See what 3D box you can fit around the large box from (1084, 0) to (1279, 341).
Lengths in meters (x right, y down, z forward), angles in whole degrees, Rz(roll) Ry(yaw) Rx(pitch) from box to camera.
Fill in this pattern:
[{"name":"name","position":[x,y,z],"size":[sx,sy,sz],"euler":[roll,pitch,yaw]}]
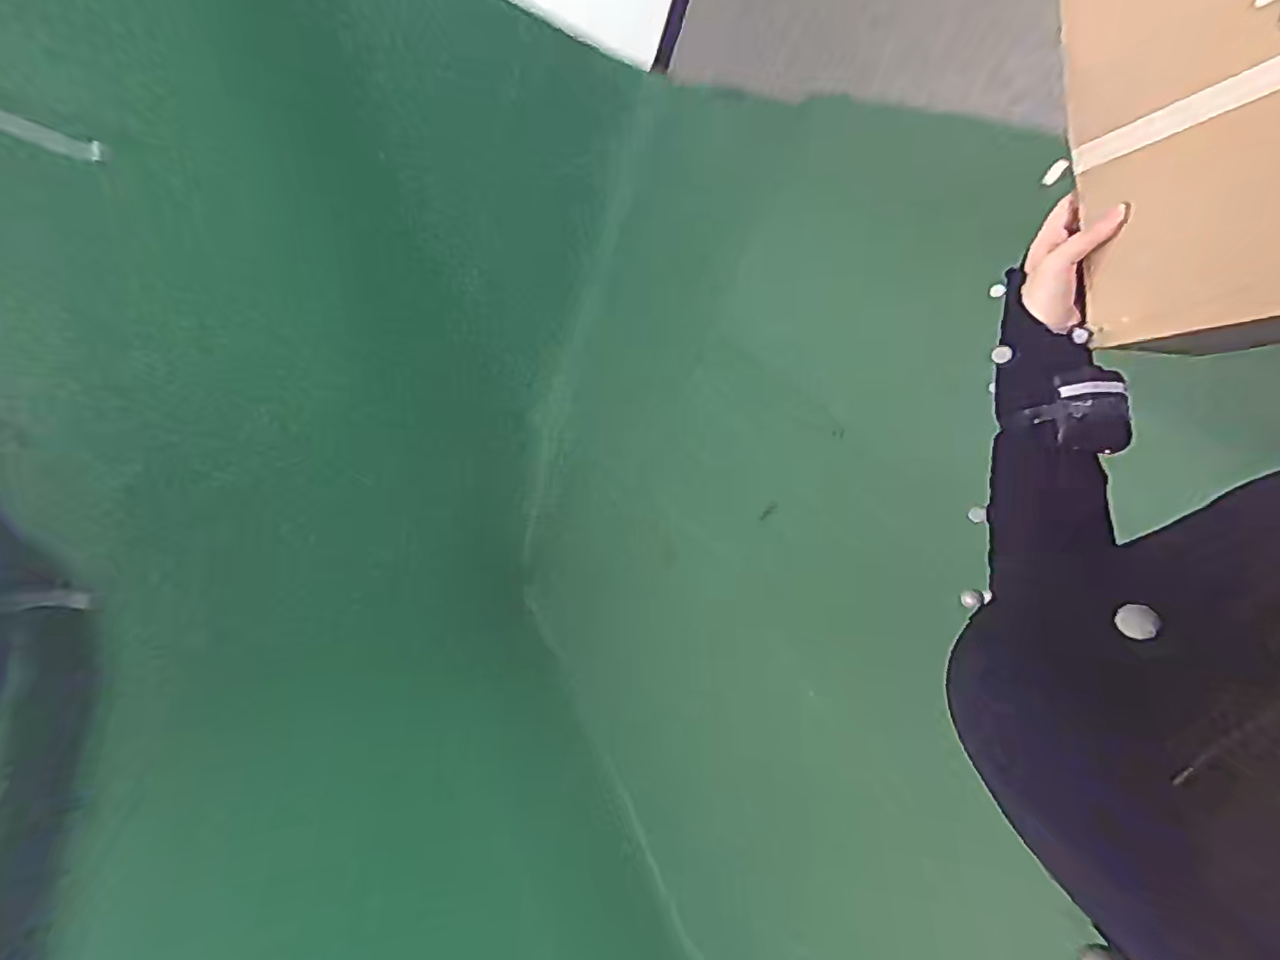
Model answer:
[{"name":"large box","position":[0.620,-0.295,0.370],"size":[0.408,0.320,0.320],"euler":[-2,94,58]}]
